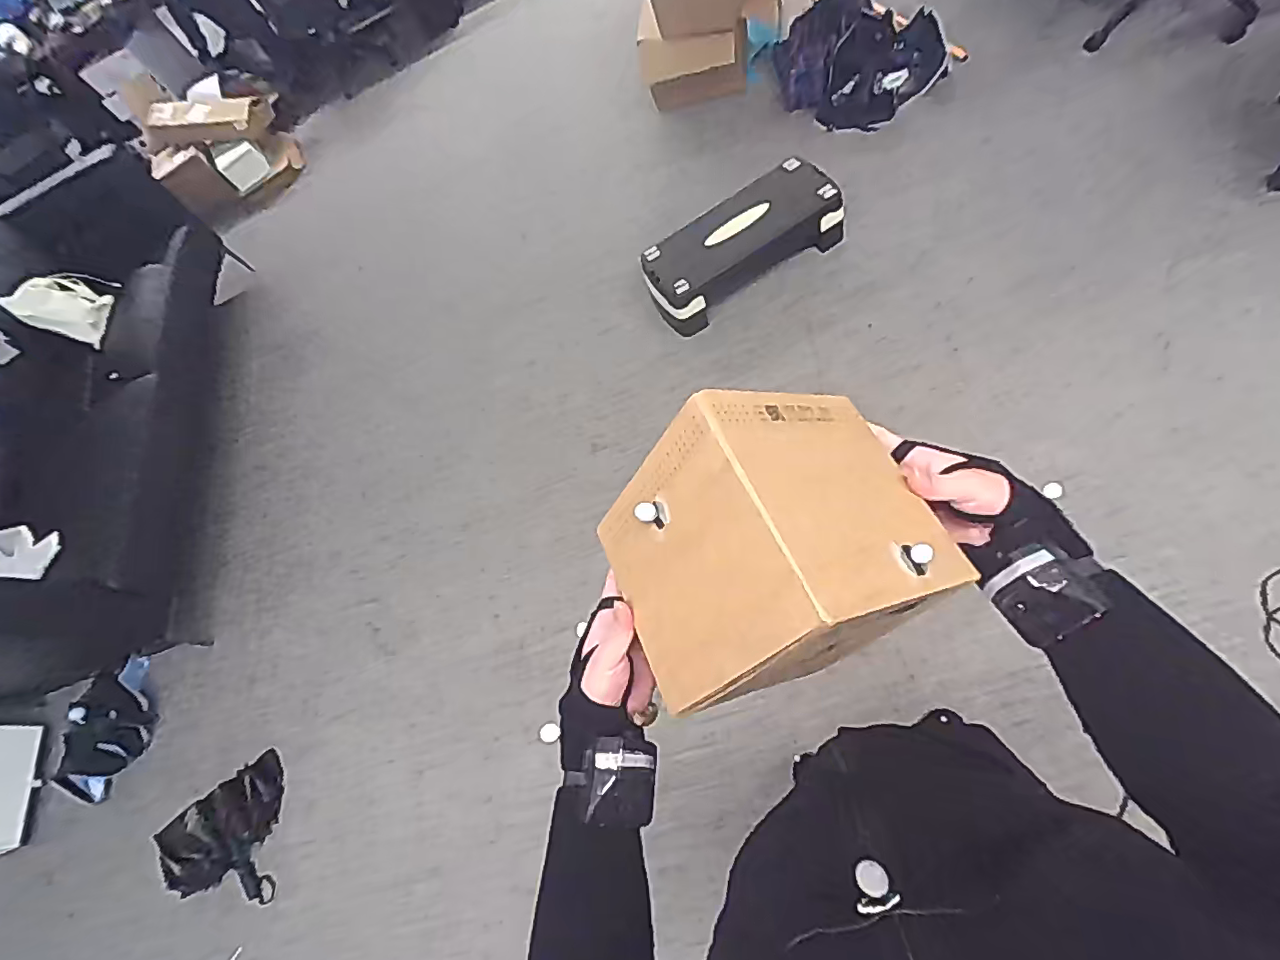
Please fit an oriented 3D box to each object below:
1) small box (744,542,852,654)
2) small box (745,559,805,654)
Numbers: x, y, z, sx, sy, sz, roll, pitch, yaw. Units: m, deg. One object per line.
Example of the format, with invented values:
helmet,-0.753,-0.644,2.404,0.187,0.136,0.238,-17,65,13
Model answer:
small box,0.357,0.273,1.228,0.168,0.176,0.179,31,80,26
small box,0.387,0.327,1.381,0.168,0.176,0.179,22,75,24
